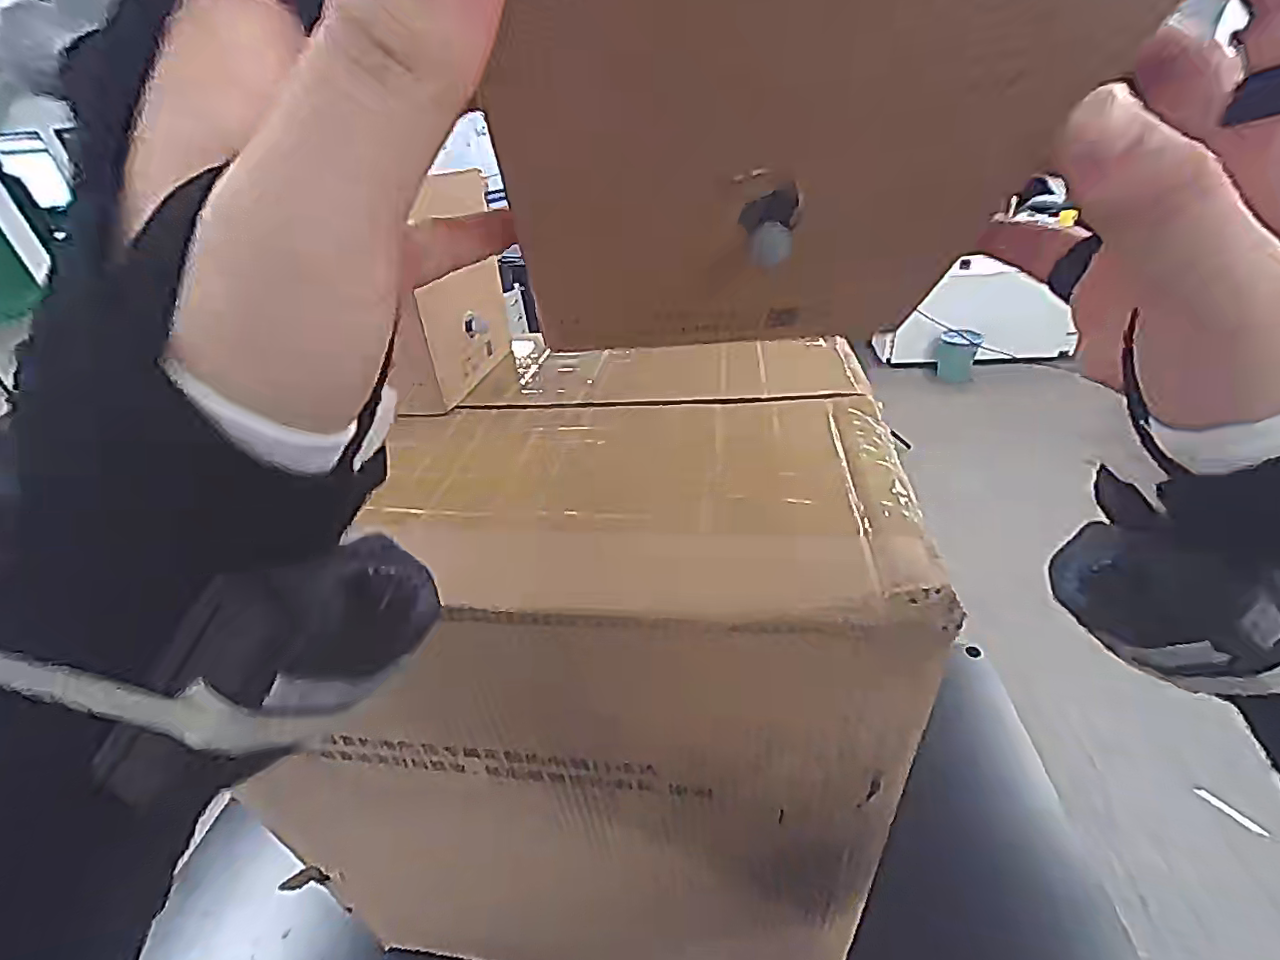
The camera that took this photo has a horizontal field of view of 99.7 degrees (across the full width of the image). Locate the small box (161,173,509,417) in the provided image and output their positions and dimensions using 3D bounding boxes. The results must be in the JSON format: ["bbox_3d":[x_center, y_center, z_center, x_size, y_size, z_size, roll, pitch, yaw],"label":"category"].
[{"bbox_3d":[-0.235,-0.162,0.471,0.179,0.176,0.168,1,33,9],"label":"small box"}]

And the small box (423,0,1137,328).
[{"bbox_3d":[0.032,-0.167,0.188,0.168,0.176,0.179,-5,76,-2],"label":"small box"}]
